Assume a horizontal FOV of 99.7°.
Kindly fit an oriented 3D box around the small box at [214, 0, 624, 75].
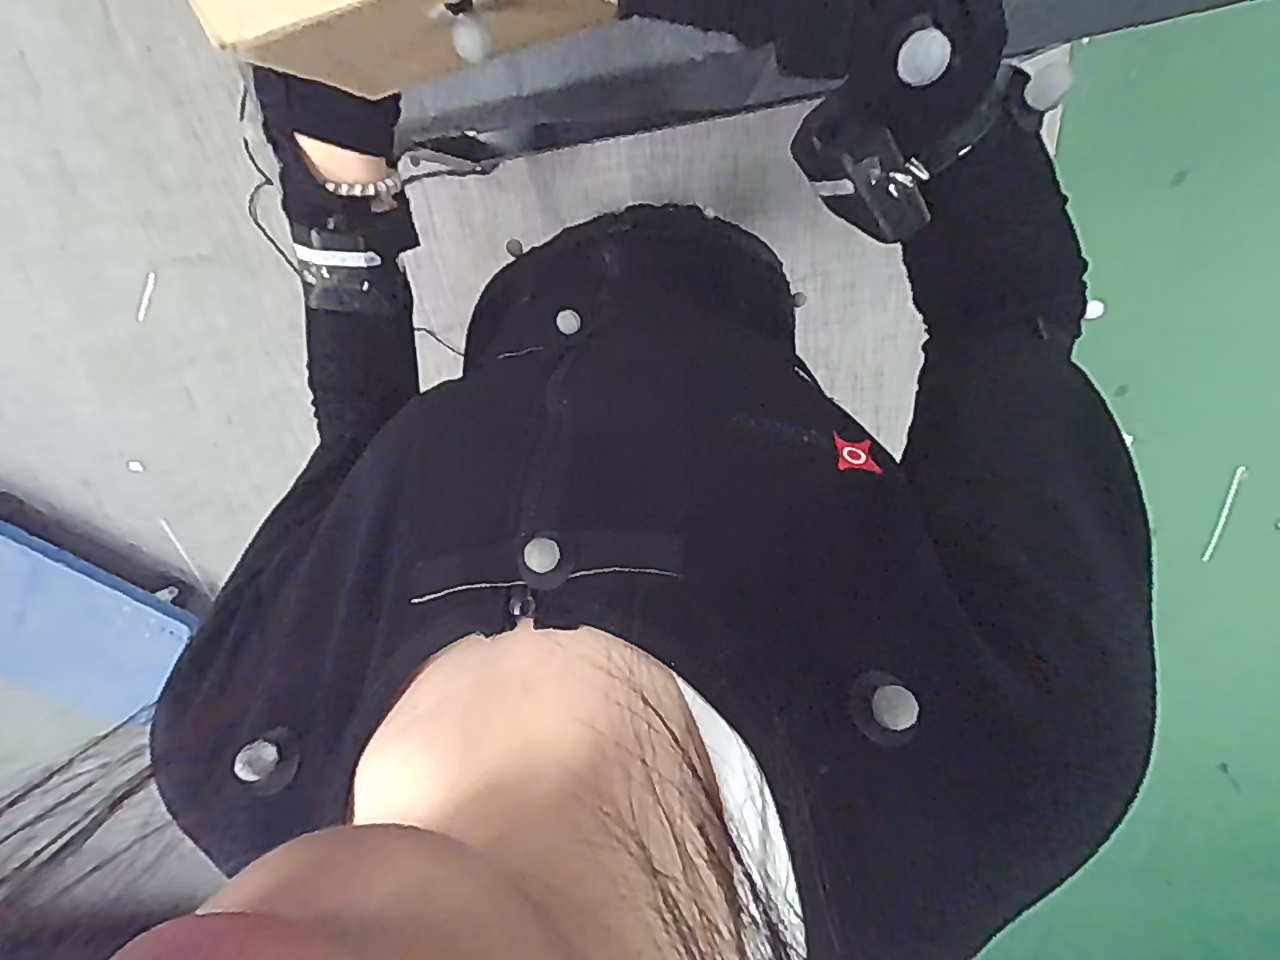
[{"bbox_3d":[-0.082,-0.278,0.202,0.179,0.176,0.168,-15,123,4],"label":"small box"}]
